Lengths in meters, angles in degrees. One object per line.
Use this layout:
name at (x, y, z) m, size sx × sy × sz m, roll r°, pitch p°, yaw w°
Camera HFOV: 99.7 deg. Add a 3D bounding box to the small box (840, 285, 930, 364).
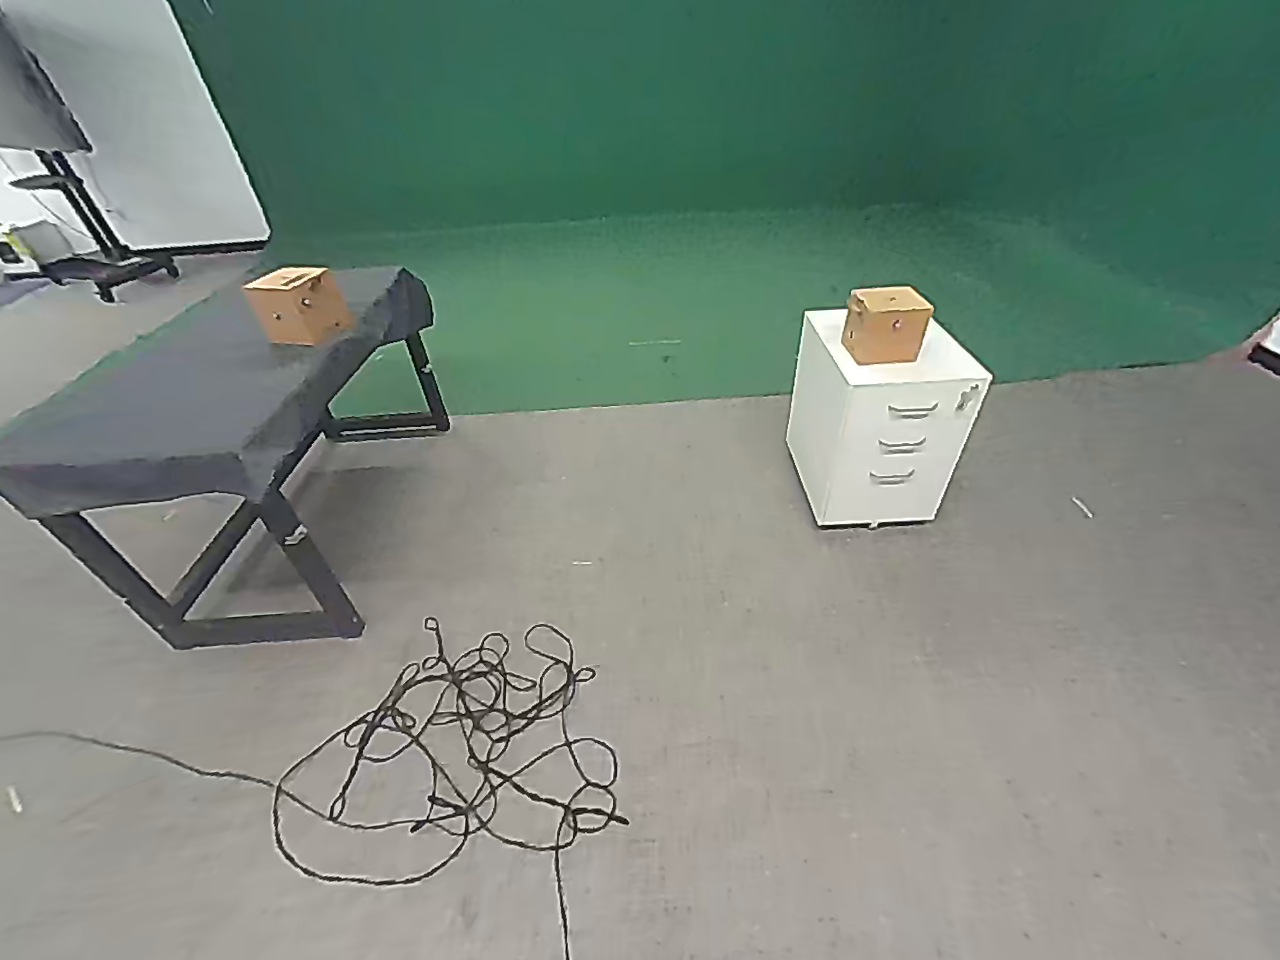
small box at (0.711, -0.456, 1.591) m, size 0.179 × 0.176 × 0.168 m, roll -4°, pitch 41°, yaw 0°
